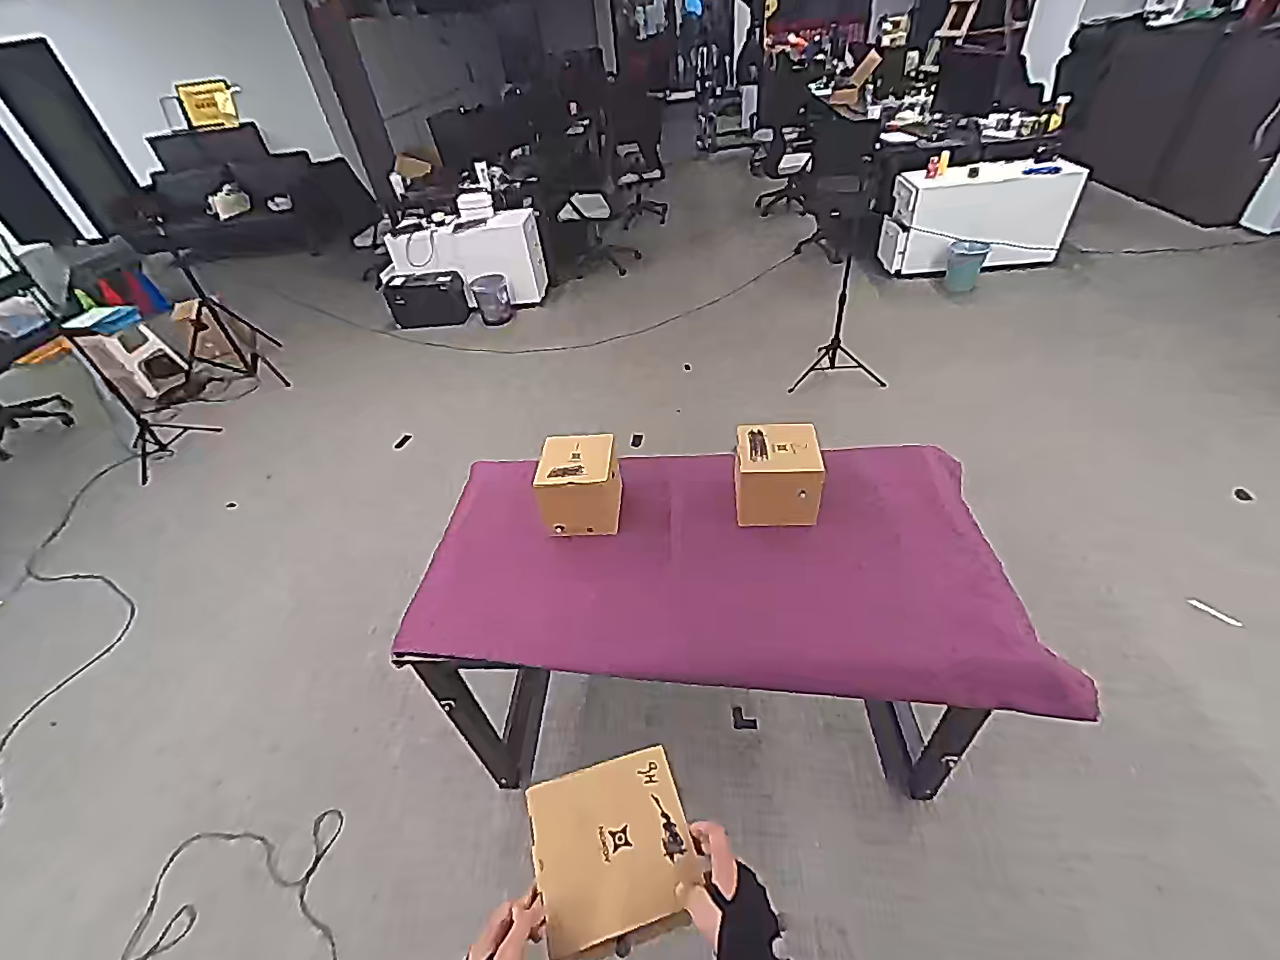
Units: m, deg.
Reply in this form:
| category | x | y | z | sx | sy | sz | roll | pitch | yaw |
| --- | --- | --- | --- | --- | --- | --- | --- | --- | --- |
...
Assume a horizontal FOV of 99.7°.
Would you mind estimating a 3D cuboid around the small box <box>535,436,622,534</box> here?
| category | x | y | z | sx | sy | sz | roll | pitch | yaw |
| --- | --- | --- | --- | --- | --- | --- | --- | --- | --- |
| small box | -0.137 | 0.016 | 1.283 | 0.168 | 0.176 | 0.179 | -2 | 41 | 6 |

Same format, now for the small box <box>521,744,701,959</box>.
| category | x | y | z | sx | sy | sz | roll | pitch | yaw |
| --- | --- | --- | --- | --- | --- | --- | --- | --- | --- |
| small box | -0.037 | 0.462 | 0.668 | 0.179 | 0.176 | 0.168 | -12 | 46 | -12 |
